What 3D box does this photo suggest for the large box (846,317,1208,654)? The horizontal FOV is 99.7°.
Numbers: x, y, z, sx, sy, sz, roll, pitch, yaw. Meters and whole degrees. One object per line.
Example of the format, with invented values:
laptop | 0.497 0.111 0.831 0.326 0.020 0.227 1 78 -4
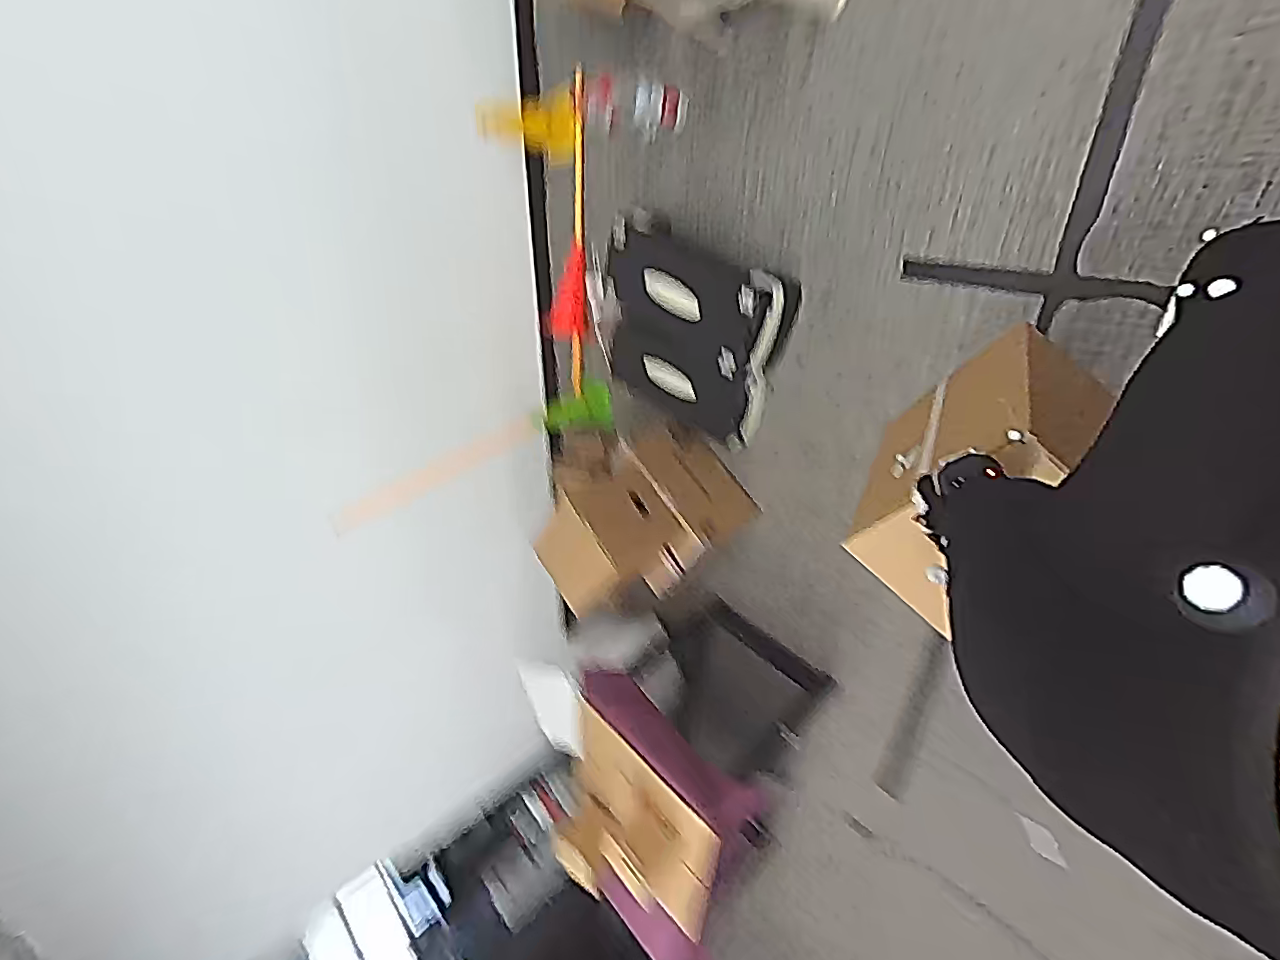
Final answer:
large box | 0.602 0.002 0.894 0.320 0.408 0.320 40 137 0
